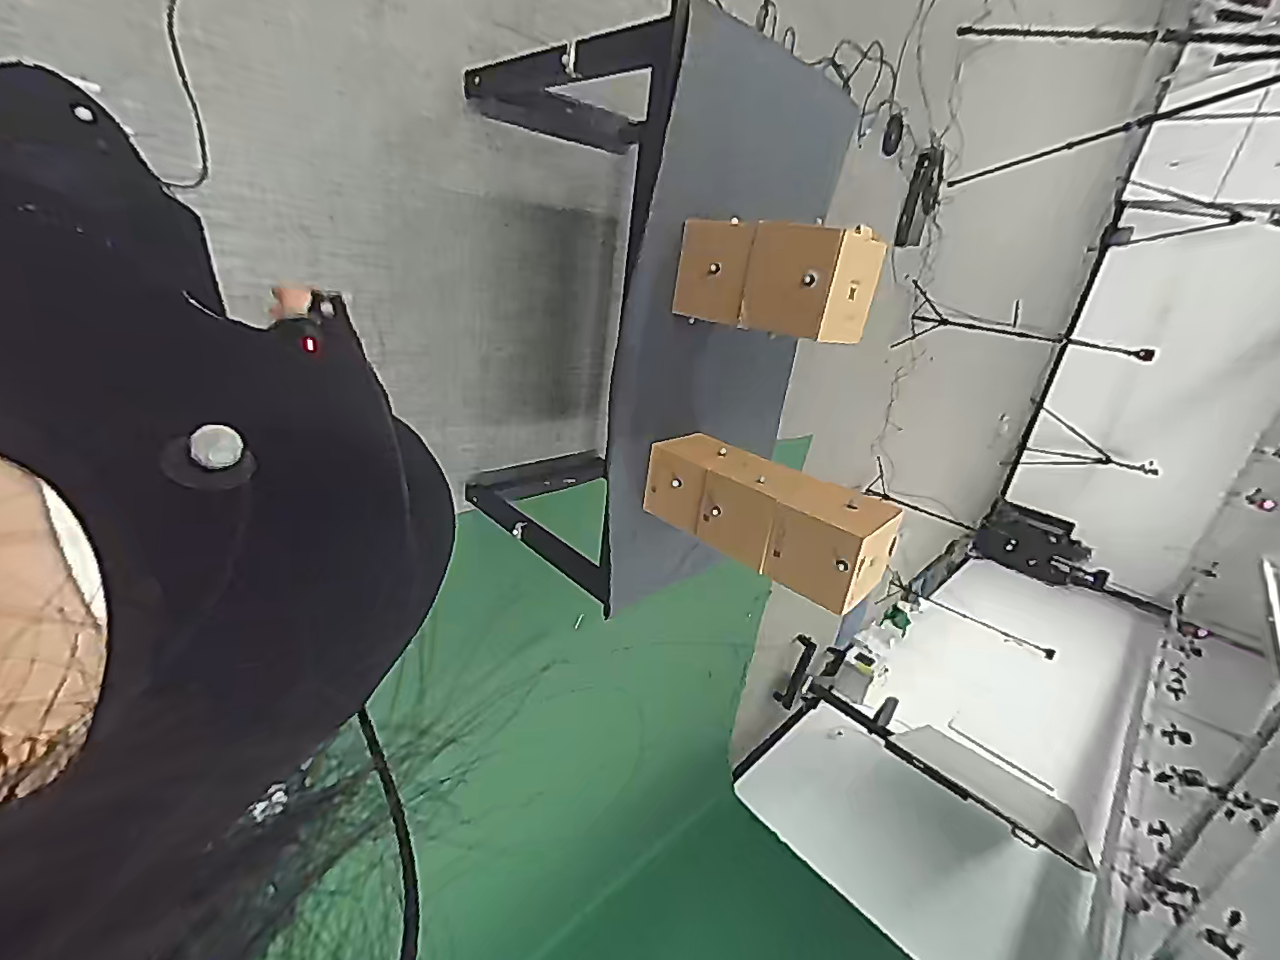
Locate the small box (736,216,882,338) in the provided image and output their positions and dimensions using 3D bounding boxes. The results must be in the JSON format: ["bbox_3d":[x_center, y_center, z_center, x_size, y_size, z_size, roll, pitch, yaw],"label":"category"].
[{"bbox_3d":[0.292,-0.356,0.954,0.168,0.176,0.179,-13,121,-44],"label":"small box"}]

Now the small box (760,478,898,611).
[{"bbox_3d":[0.354,0.110,1.027,0.179,0.176,0.168,-20,125,-42],"label":"small box"}]

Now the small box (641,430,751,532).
[{"bbox_3d":[0.122,-0.005,1.229,0.179,0.176,0.168,-16,122,-44],"label":"small box"}]

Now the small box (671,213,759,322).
[{"bbox_3d":[0.180,-0.412,1.057,0.168,0.176,0.179,-15,121,-44],"label":"small box"}]
